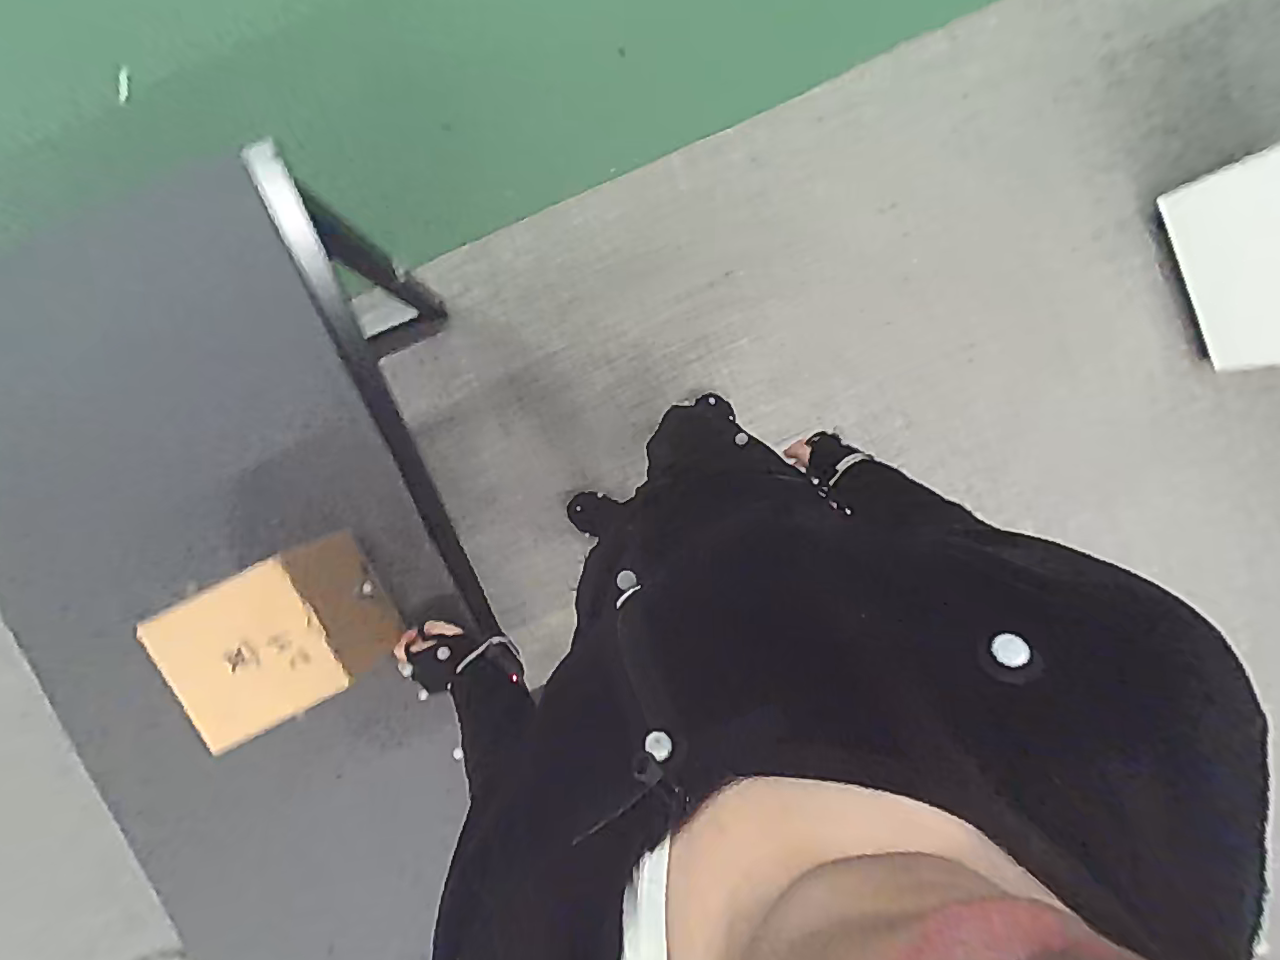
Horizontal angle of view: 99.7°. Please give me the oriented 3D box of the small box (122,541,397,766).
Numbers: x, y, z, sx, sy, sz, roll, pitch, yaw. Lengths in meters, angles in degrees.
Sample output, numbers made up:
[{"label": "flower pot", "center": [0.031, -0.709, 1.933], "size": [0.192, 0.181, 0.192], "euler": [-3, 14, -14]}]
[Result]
[{"label": "small box", "center": [-0.435, 0.193, 0.652], "size": [0.179, 0.176, 0.168], "euler": [-28, 95, 0]}]
